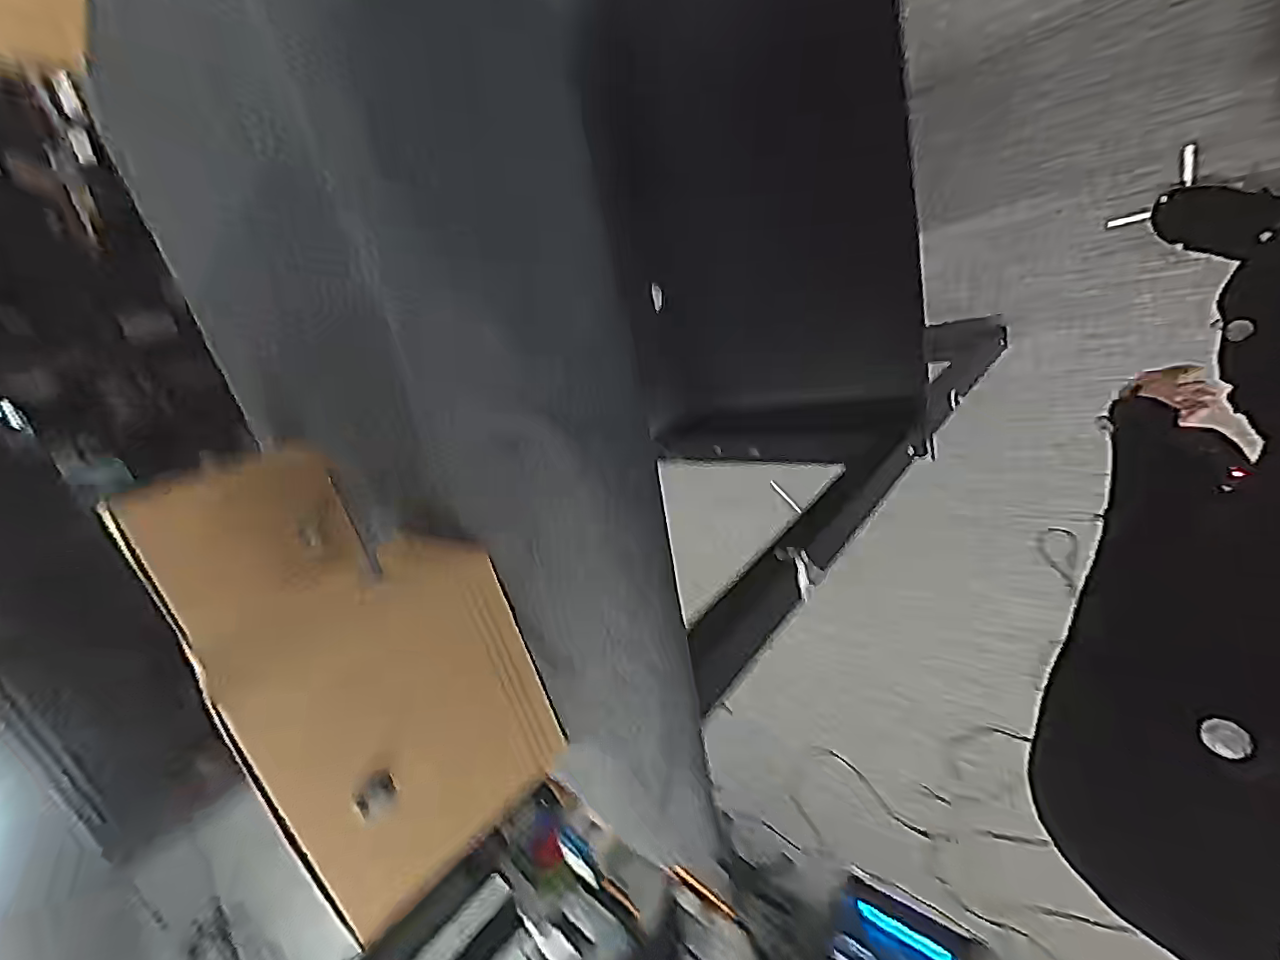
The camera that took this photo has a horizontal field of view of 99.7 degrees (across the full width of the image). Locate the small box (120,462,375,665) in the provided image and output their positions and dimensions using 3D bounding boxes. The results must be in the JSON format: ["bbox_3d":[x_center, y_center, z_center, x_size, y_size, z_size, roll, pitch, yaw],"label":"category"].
[{"bbox_3d":[-0.414,0.085,0.590,0.168,0.176,0.179,-1,112,45],"label":"small box"}]

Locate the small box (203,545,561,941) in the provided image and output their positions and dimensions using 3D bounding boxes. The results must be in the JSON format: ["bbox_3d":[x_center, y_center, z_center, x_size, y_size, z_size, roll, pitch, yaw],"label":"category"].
[{"bbox_3d":[-0.187,0.170,0.413,0.168,0.176,0.179,-2,111,47],"label":"small box"}]
